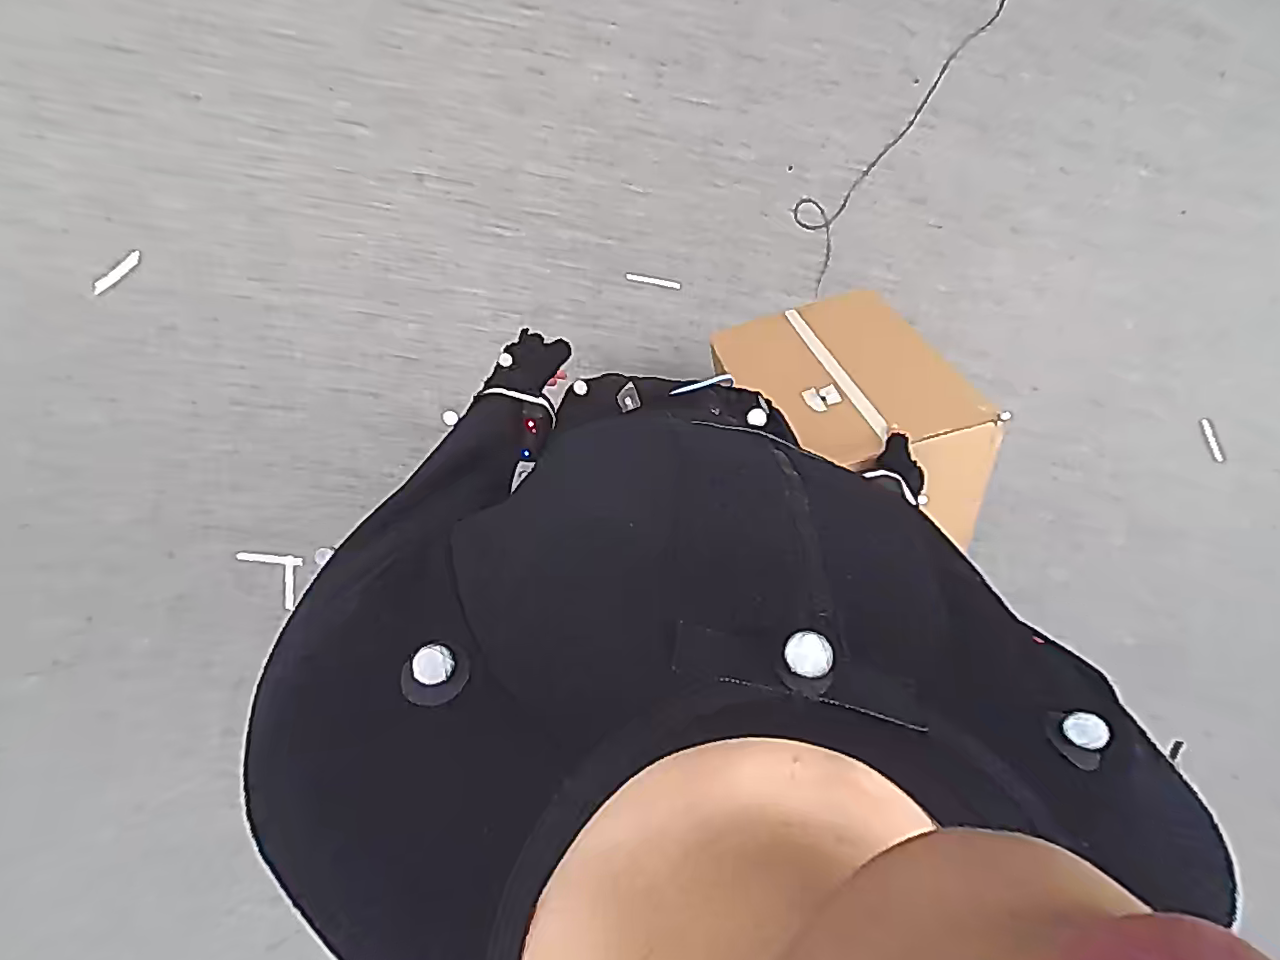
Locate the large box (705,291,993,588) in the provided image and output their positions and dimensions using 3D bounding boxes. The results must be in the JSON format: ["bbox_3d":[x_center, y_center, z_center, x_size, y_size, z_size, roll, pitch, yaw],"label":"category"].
[{"bbox_3d":[0.334,-0.080,0.988,0.320,0.408,0.320,-17,136,3],"label":"large box"}]
